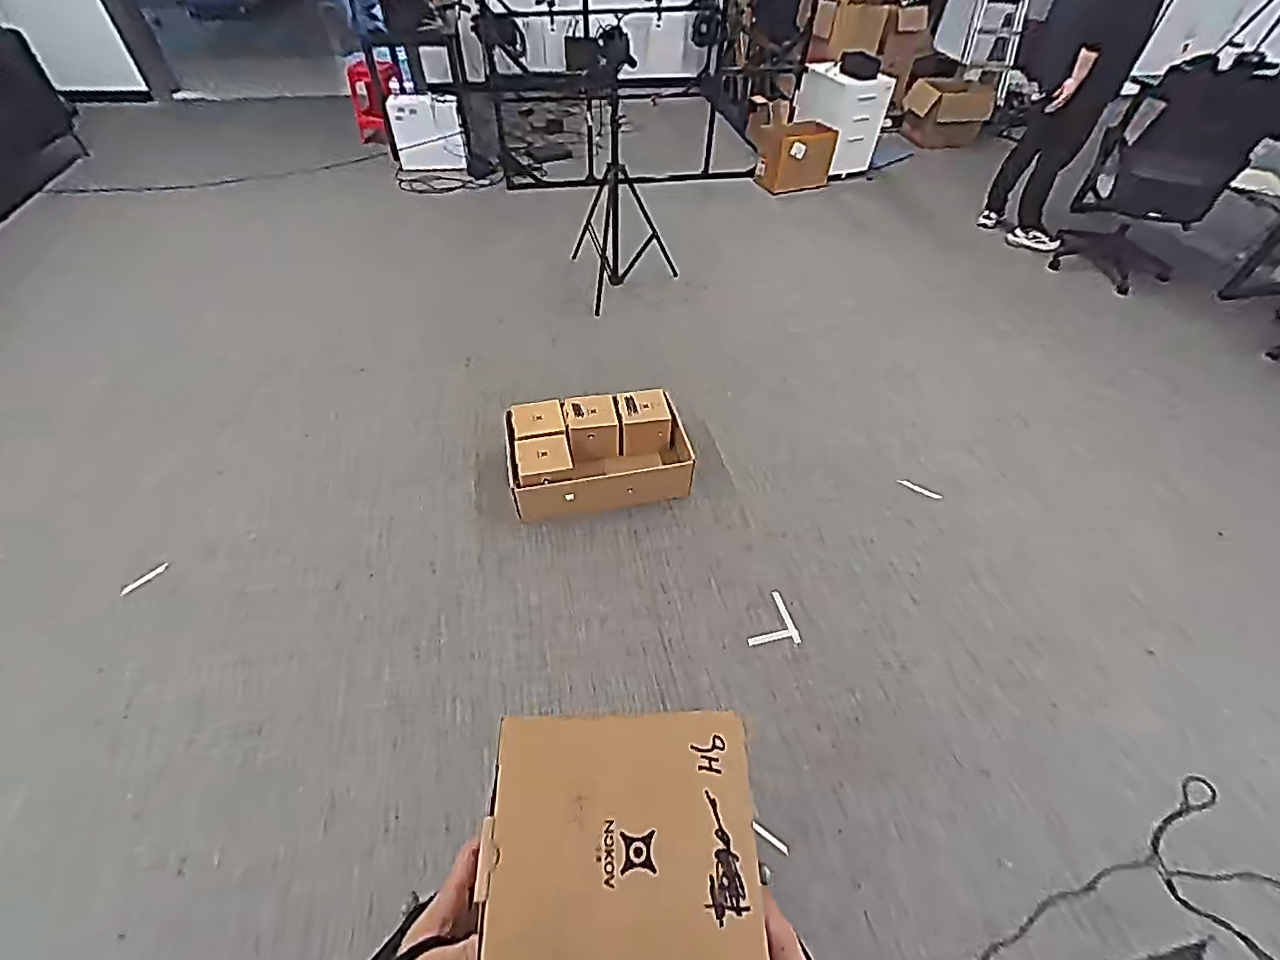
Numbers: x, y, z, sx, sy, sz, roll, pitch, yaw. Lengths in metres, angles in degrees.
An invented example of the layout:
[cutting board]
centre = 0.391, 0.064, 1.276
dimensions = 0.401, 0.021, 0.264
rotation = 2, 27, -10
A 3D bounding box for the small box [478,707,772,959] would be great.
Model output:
[small box]
centre = -0.014, 0.277, 0.416
dimensions = 0.179, 0.176, 0.168
rotation = 0, 59, -5
